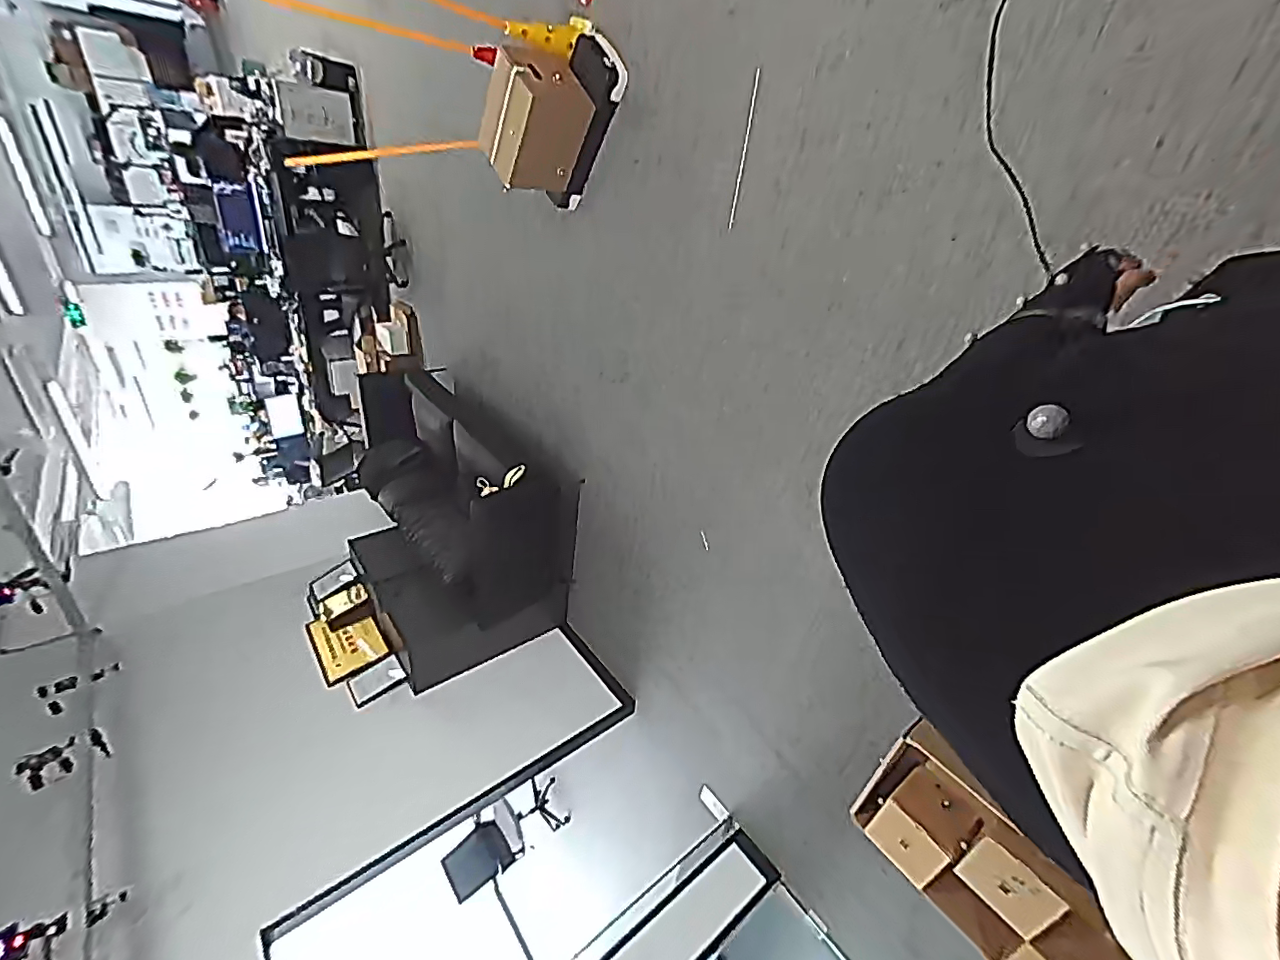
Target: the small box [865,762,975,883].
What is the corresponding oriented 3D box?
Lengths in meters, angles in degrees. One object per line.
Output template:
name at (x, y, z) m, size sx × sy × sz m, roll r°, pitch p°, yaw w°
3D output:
small box at (0.722, 0.876, 1.393) m, size 0.168 × 0.176 × 0.179 m, roll 39°, pitch 132°, yaw 38°
